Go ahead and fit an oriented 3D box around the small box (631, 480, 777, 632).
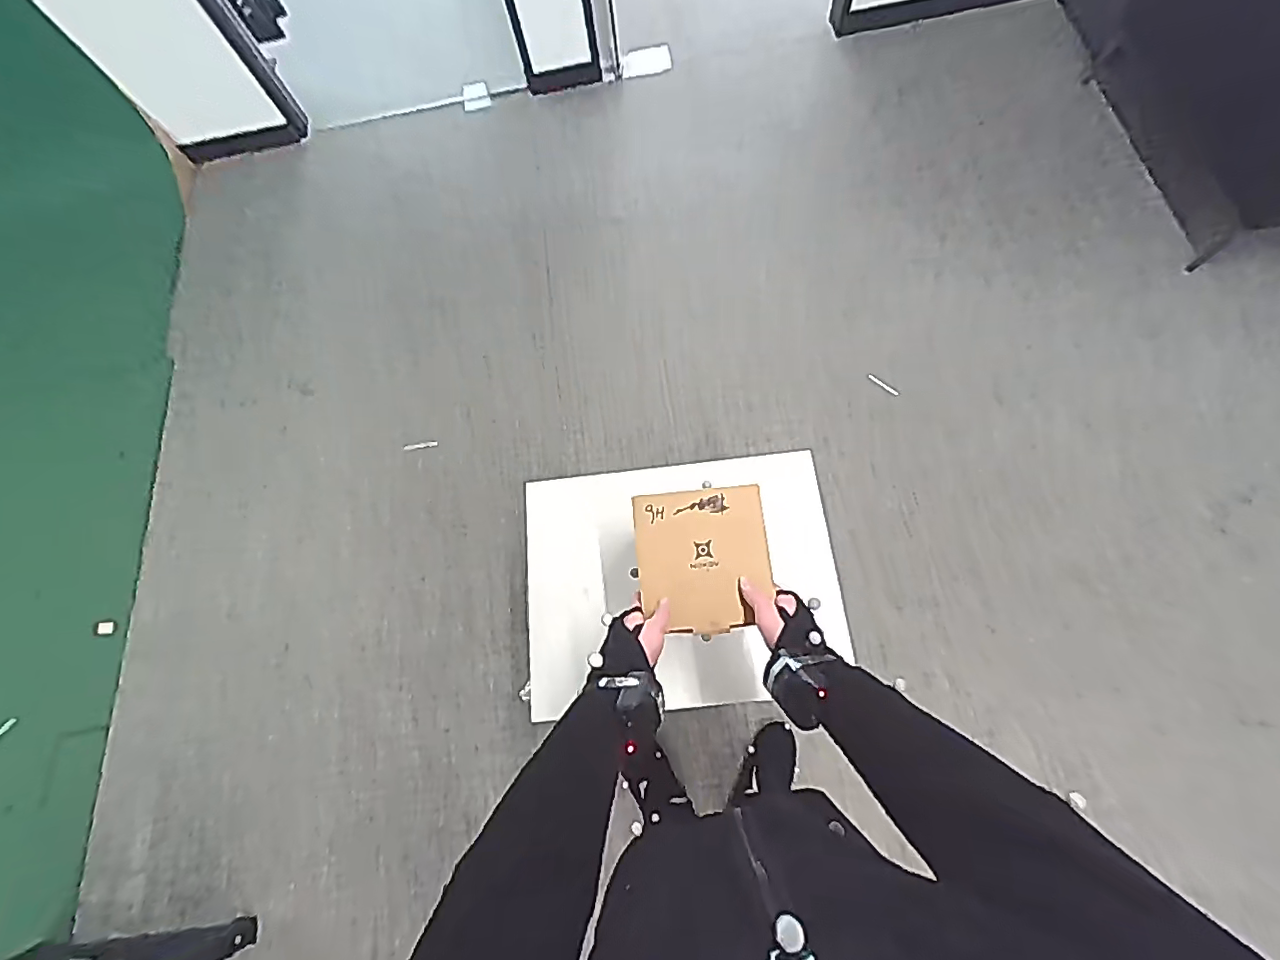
[{"bbox_3d":[0.083,0.111,0.756,0.168,0.176,0.179,-8,75,1],"label":"small box"}]
